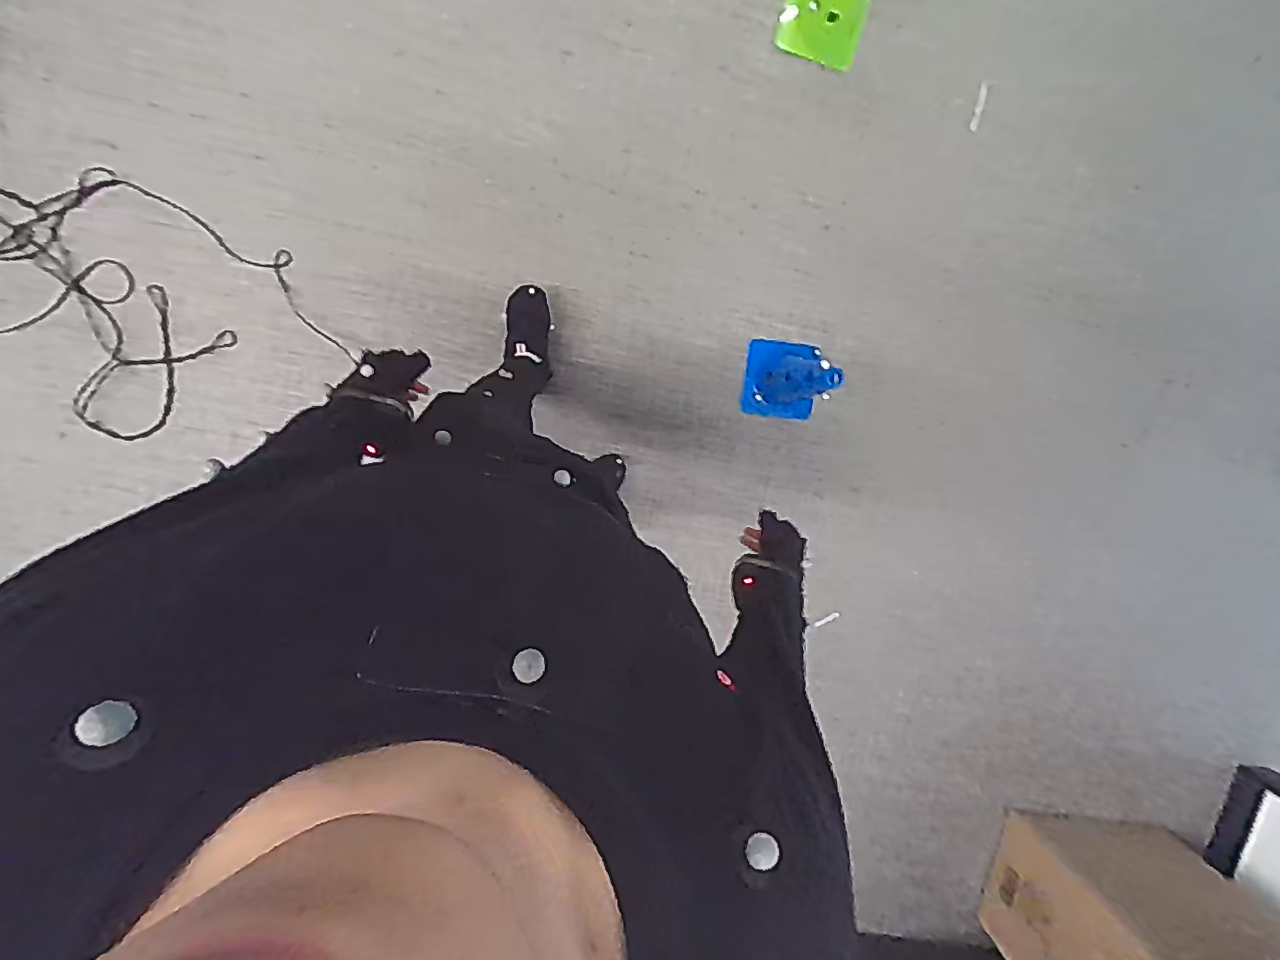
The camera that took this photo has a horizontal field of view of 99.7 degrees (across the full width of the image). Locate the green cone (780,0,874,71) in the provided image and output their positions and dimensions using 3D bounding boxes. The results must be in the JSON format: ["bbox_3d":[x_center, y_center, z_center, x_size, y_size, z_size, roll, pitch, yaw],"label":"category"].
[{"bbox_3d":[0.465,-1.099,1.148,0.200,0.368,0.202,14,98,-5],"label":"green cone"}]
